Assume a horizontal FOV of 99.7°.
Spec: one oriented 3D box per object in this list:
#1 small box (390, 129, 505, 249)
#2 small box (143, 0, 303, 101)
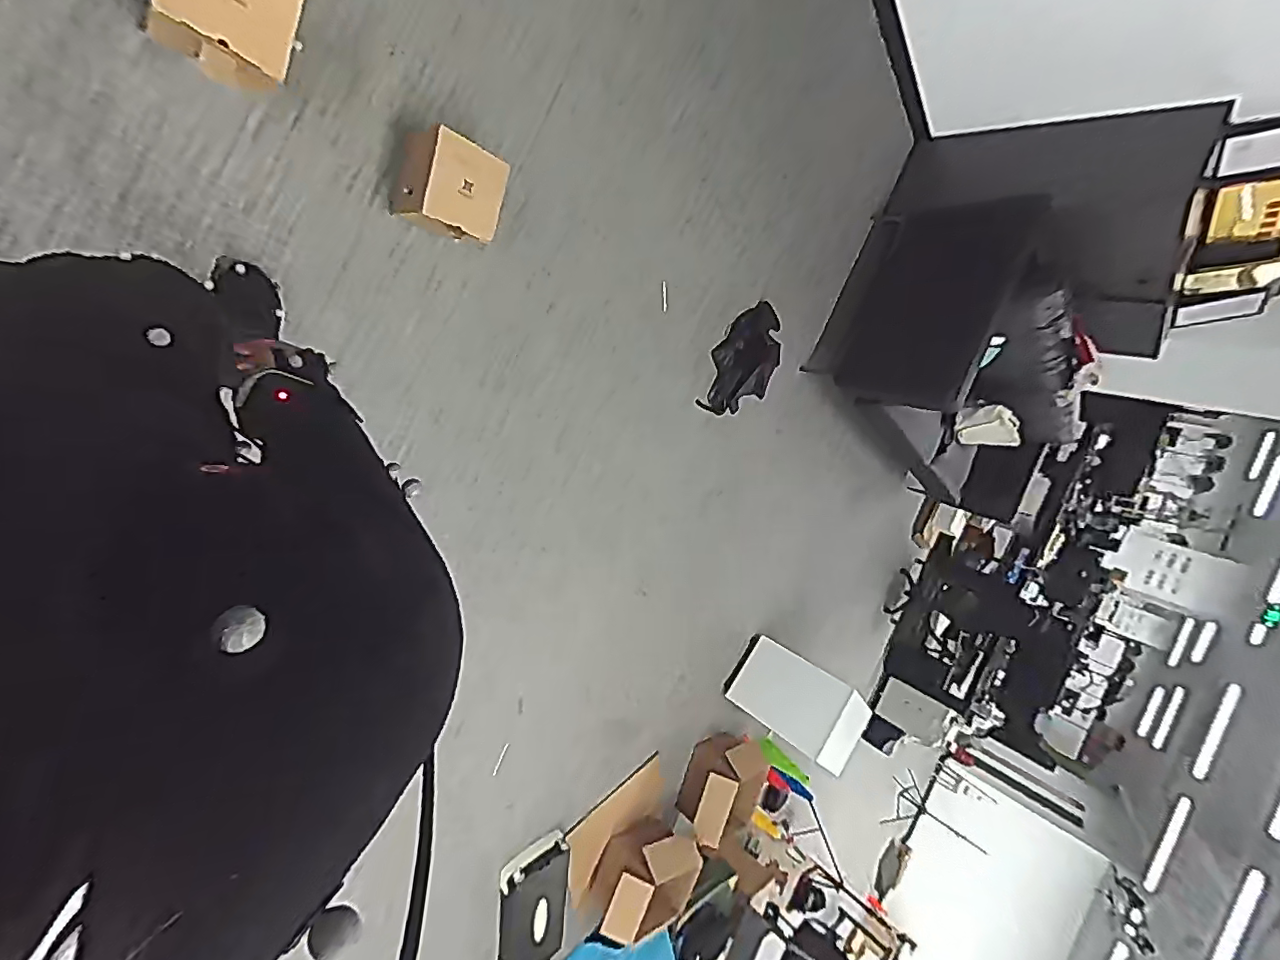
[{"bbox_3d":[-0.428,-0.627,1.187,0.168,0.176,0.179,6,102,-49],"label":"small box"},{"bbox_3d":[-0.673,-0.759,0.872,0.168,0.176,0.179,12,99,-48],"label":"small box"}]
